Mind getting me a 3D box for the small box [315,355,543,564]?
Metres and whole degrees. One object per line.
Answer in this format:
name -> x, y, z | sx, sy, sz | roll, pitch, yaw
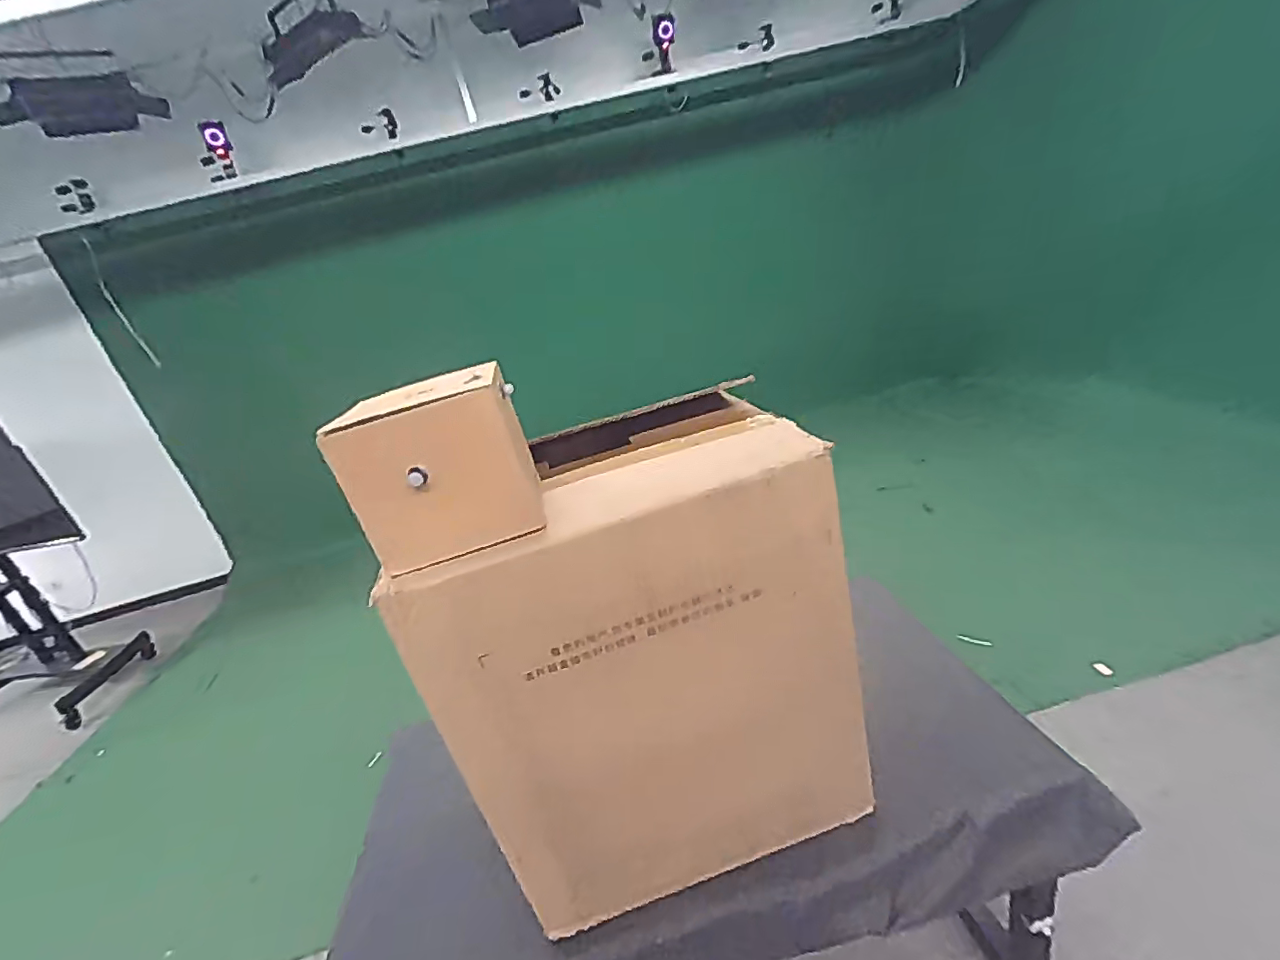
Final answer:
small box -> -0.225, -0.028, 0.627 | 0.179, 0.176, 0.168 | -19, 25, -5
